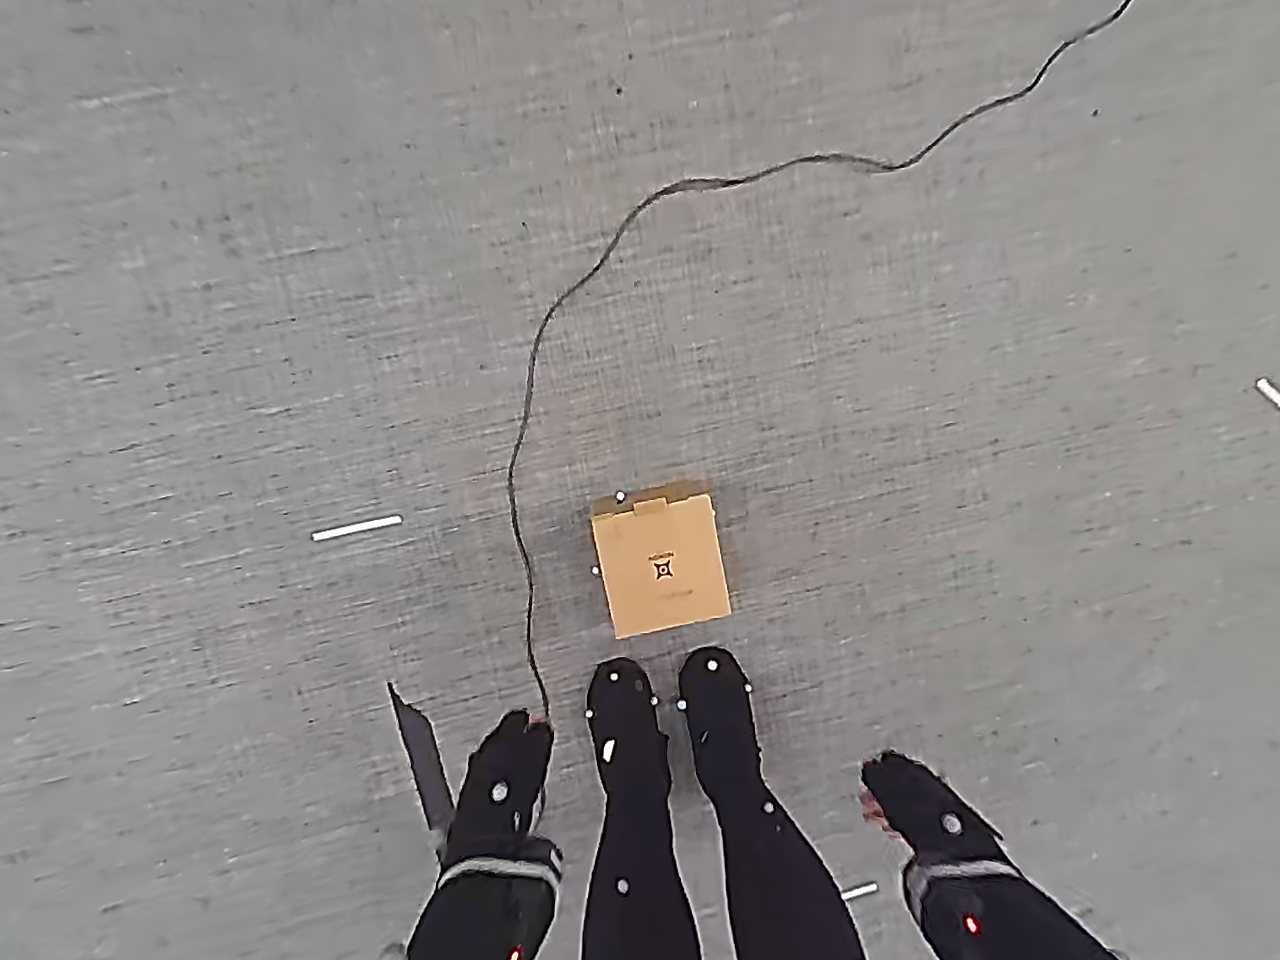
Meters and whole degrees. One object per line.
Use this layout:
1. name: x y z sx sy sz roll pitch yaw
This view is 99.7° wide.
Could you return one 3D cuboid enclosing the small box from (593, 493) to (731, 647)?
1. small box: 0.024 0.120 0.808 0.168 0.176 0.179 -11 97 -3
